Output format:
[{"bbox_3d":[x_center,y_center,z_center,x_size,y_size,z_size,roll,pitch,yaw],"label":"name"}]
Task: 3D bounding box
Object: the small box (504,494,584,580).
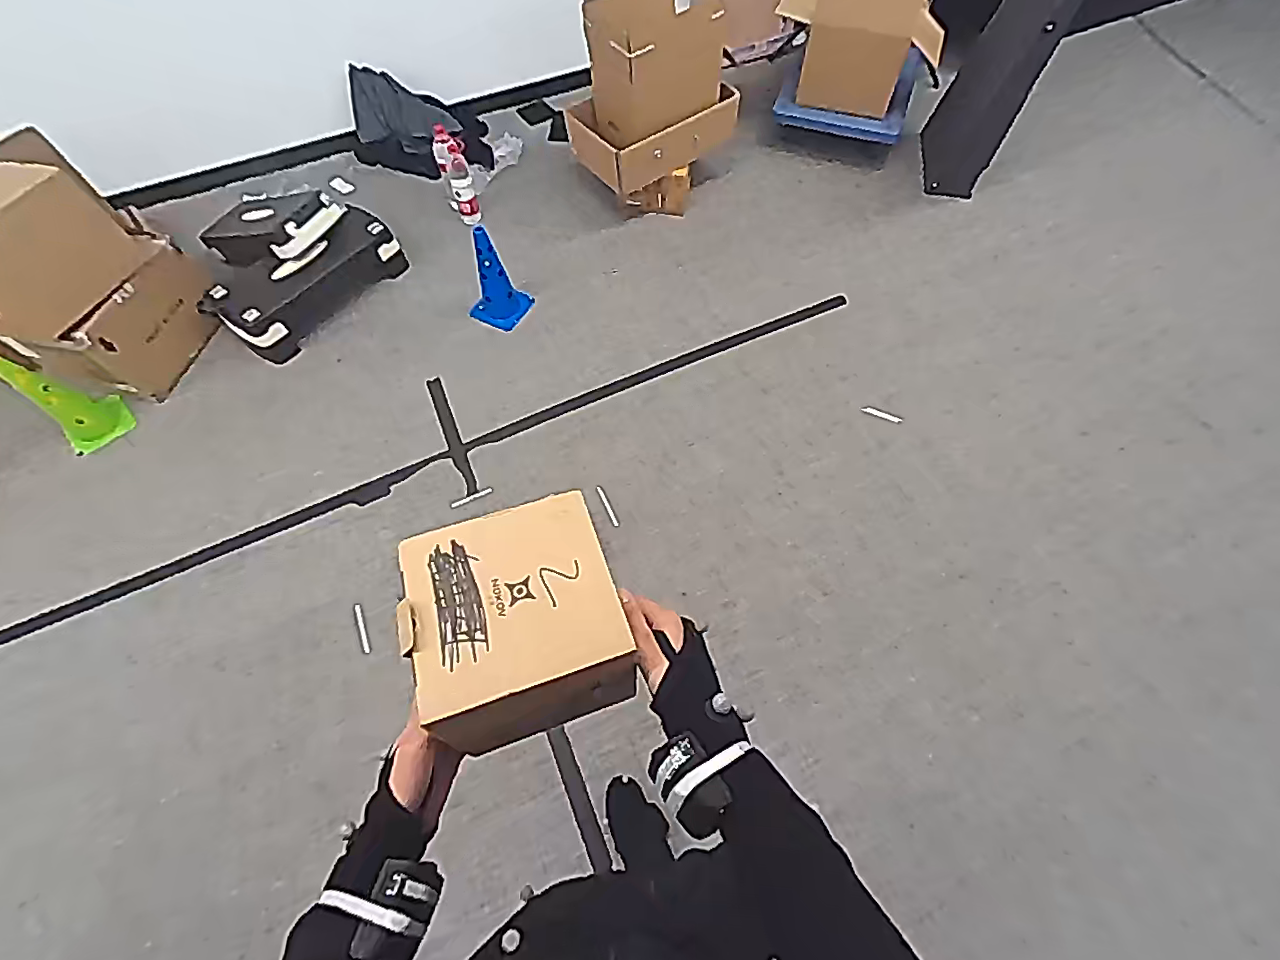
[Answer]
[{"bbox_3d":[-0.278,0.177,1.597,0.168,0.176,0.179,-26,65,-13],"label":"small box"}]
